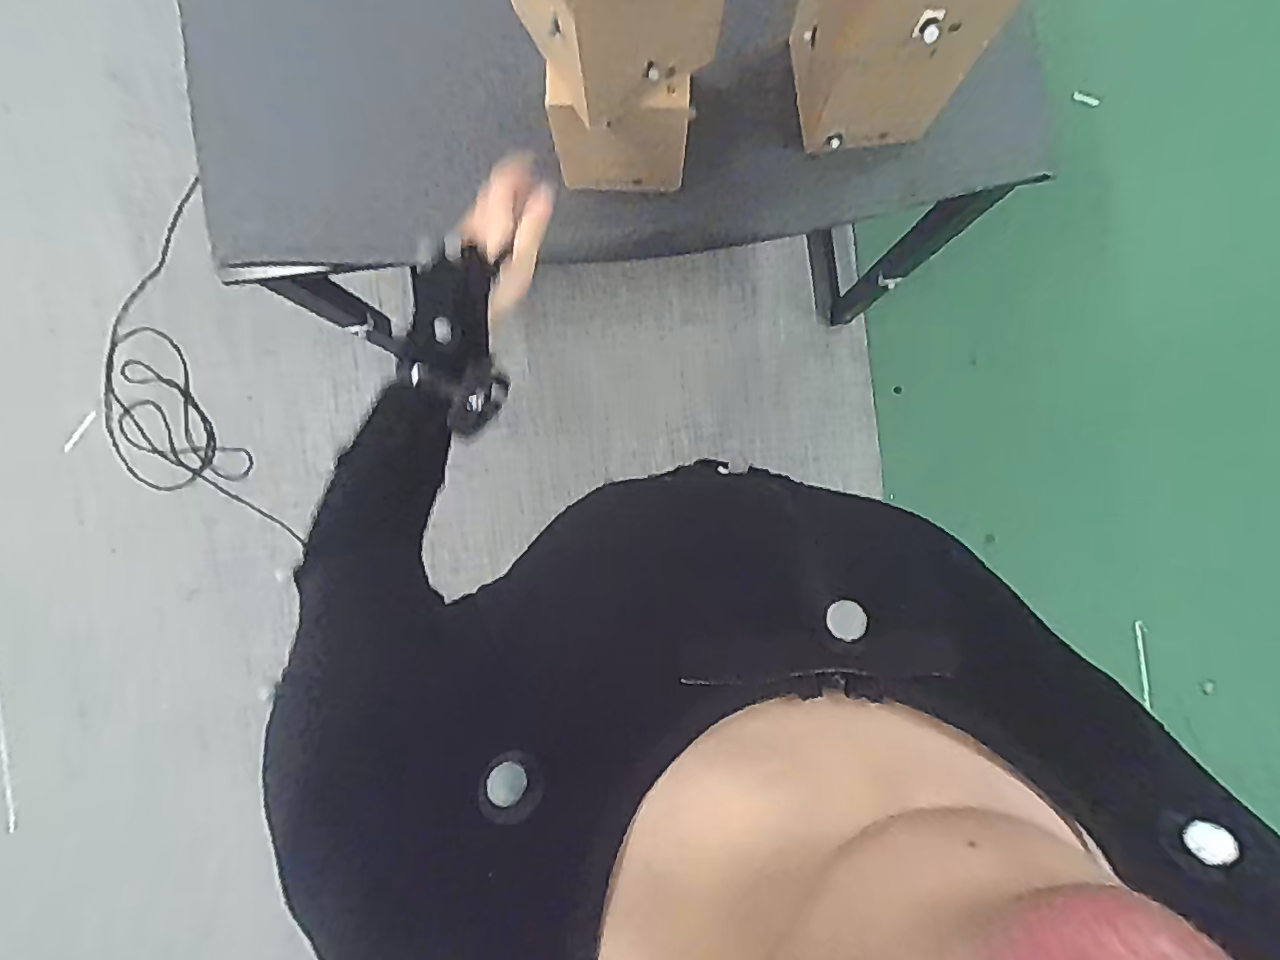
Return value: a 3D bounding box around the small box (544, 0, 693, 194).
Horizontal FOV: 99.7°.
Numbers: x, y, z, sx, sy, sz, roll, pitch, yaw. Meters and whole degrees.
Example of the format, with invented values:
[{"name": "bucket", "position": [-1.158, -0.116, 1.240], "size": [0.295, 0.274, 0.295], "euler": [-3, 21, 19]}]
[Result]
[{"name": "small box", "position": [-0.023, -0.501, 0.691], "size": [0.168, 0.176, 0.179], "euler": [2, 87, 1]}]
